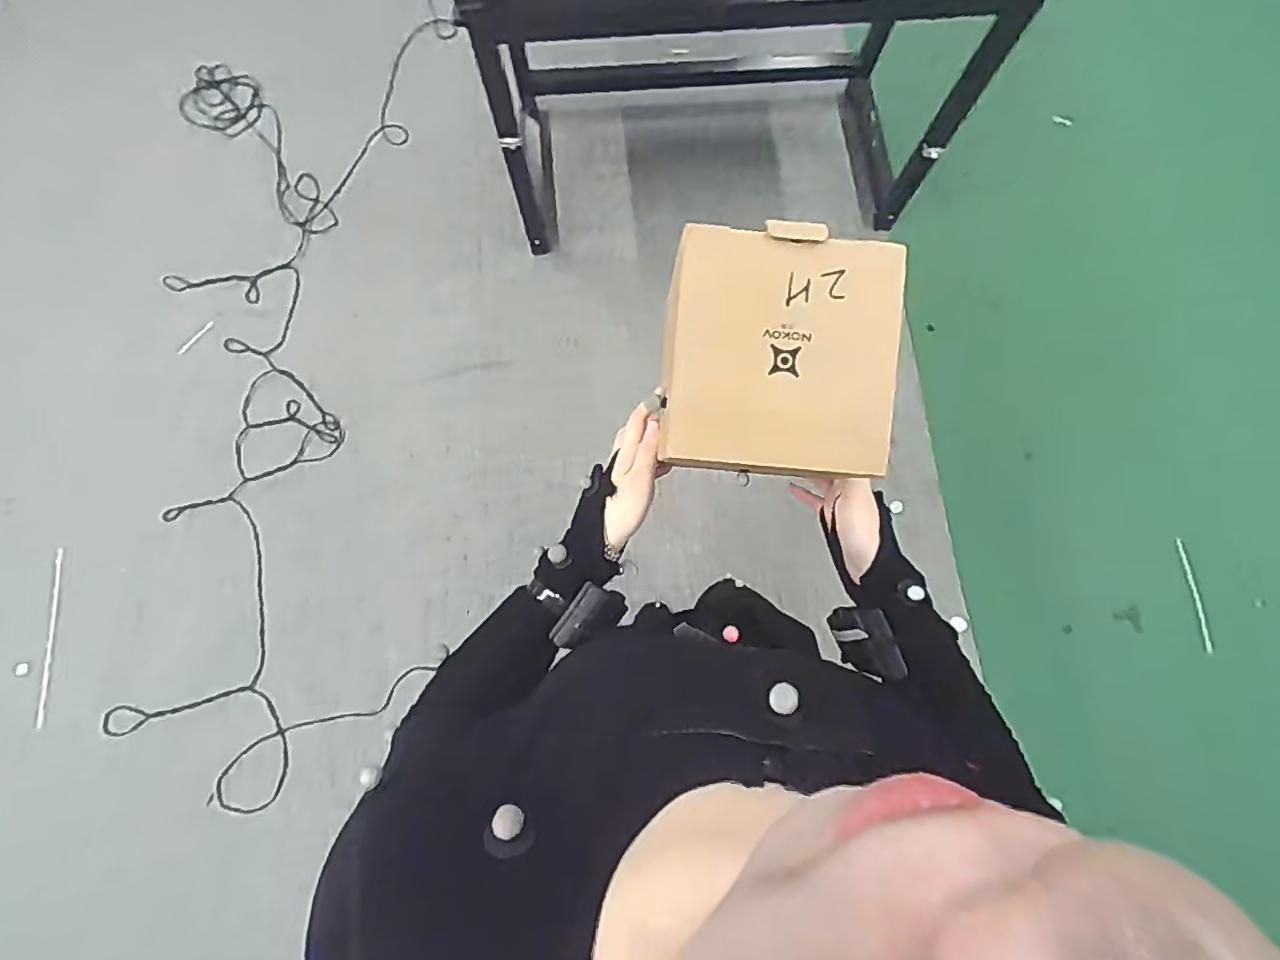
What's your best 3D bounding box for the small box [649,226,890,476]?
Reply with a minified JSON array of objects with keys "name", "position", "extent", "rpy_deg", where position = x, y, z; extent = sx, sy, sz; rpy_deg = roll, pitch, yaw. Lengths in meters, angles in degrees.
[{"name":"small box","position":[0.097,-0.096,0.481],"extent":[0.168,0.176,0.179],"rpy_deg":[4,90,-2]}]
